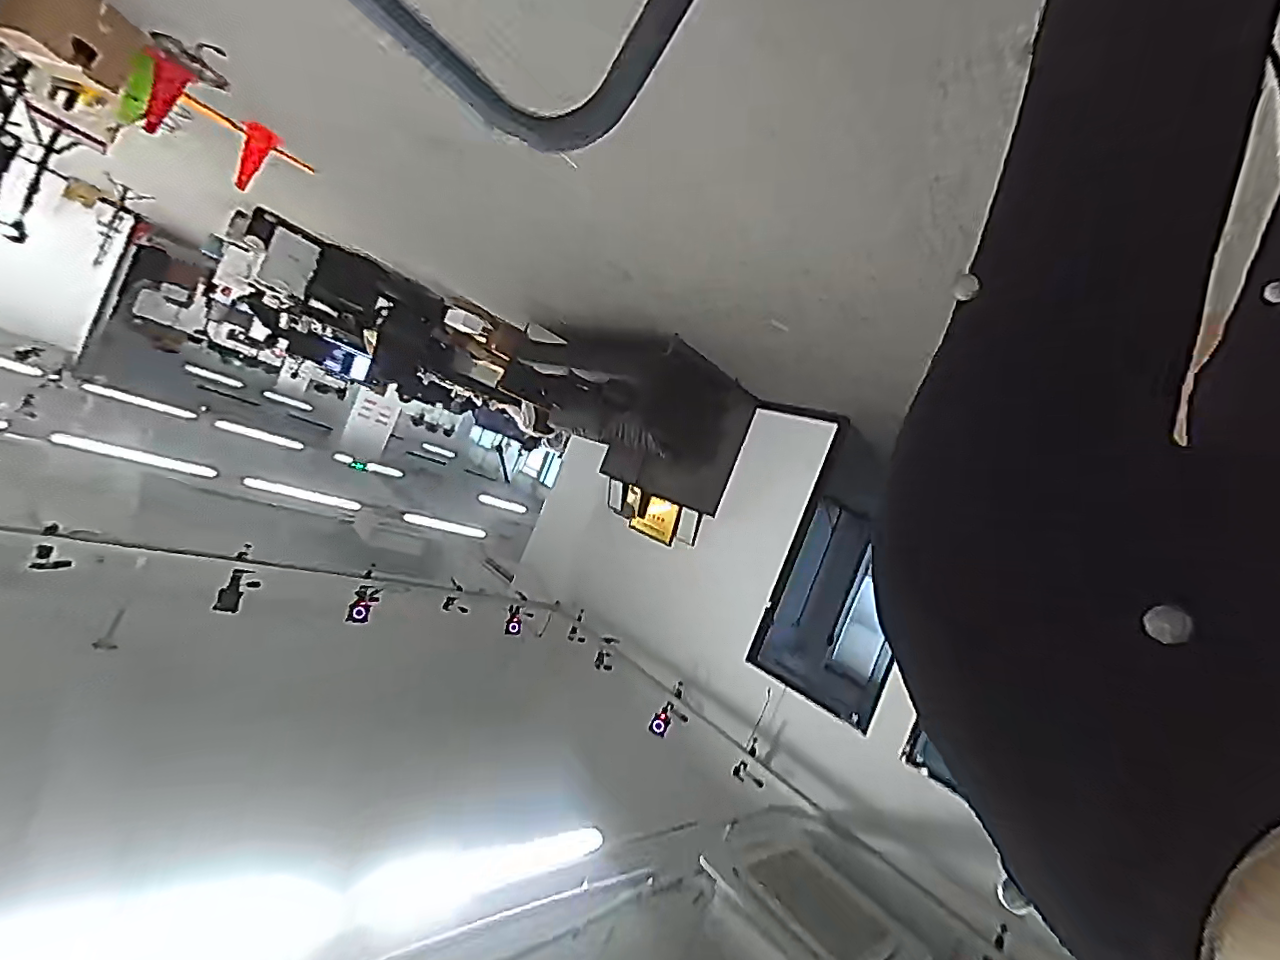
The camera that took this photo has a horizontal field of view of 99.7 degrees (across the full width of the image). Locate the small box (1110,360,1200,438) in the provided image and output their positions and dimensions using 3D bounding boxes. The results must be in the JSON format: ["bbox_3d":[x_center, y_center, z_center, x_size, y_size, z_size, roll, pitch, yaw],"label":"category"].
[{"bbox_3d":[1.559,-0.250,1.648,0.168,0.176,0.179,21,178,40],"label":"small box"}]

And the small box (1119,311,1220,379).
[{"bbox_3d":[1.618,-0.402,1.656,0.179,0.176,0.168,22,179,39],"label":"small box"}]
